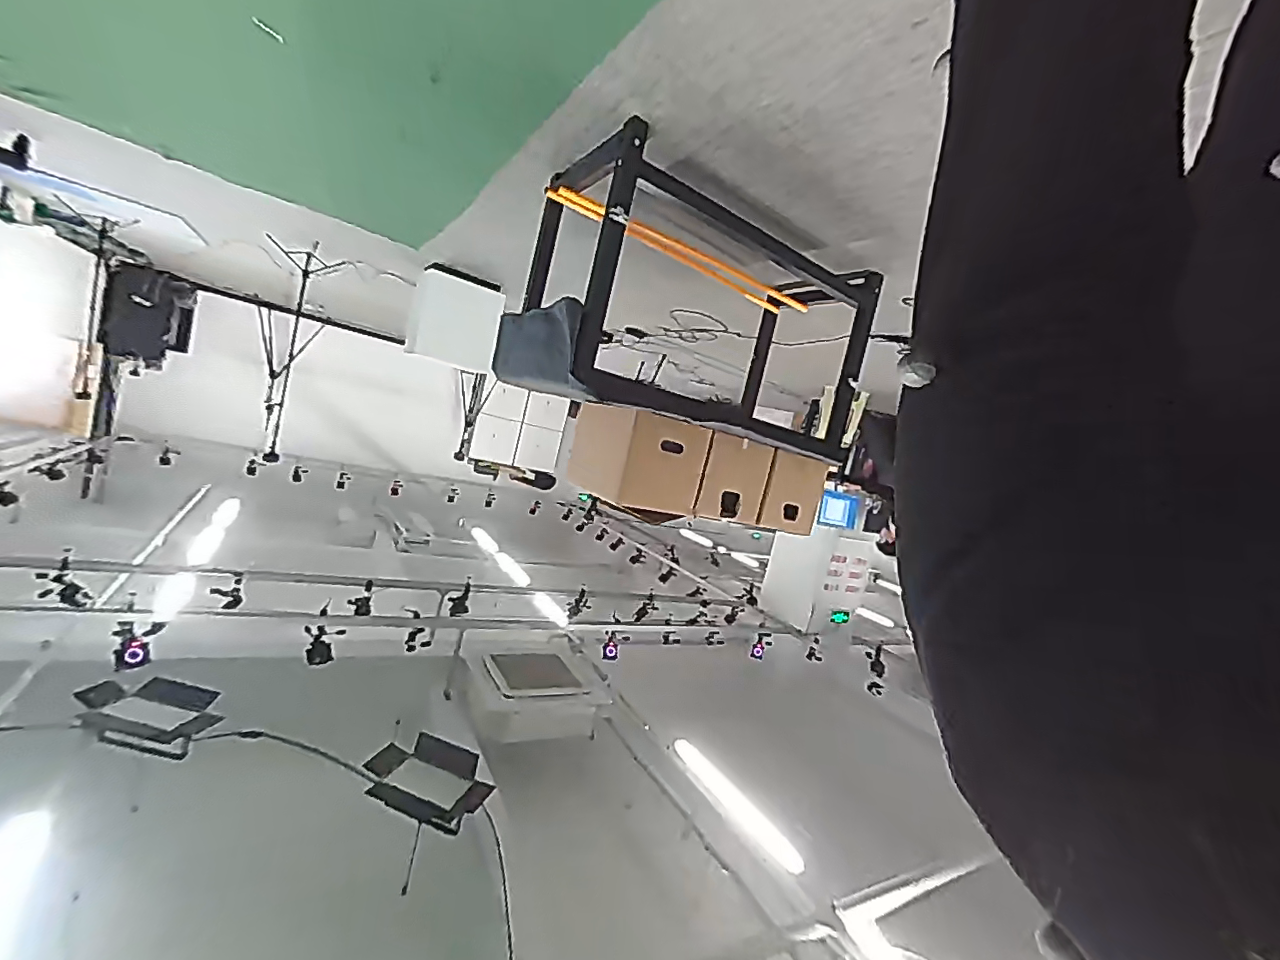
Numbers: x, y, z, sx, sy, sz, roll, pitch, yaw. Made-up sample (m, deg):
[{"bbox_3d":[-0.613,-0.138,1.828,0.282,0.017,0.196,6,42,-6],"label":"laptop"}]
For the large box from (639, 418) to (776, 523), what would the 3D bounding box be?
[{"bbox_3d":[0.250,-0.046,2.088,0.320,0.320,0.408,11,-177,-32],"label":"large box"}]
